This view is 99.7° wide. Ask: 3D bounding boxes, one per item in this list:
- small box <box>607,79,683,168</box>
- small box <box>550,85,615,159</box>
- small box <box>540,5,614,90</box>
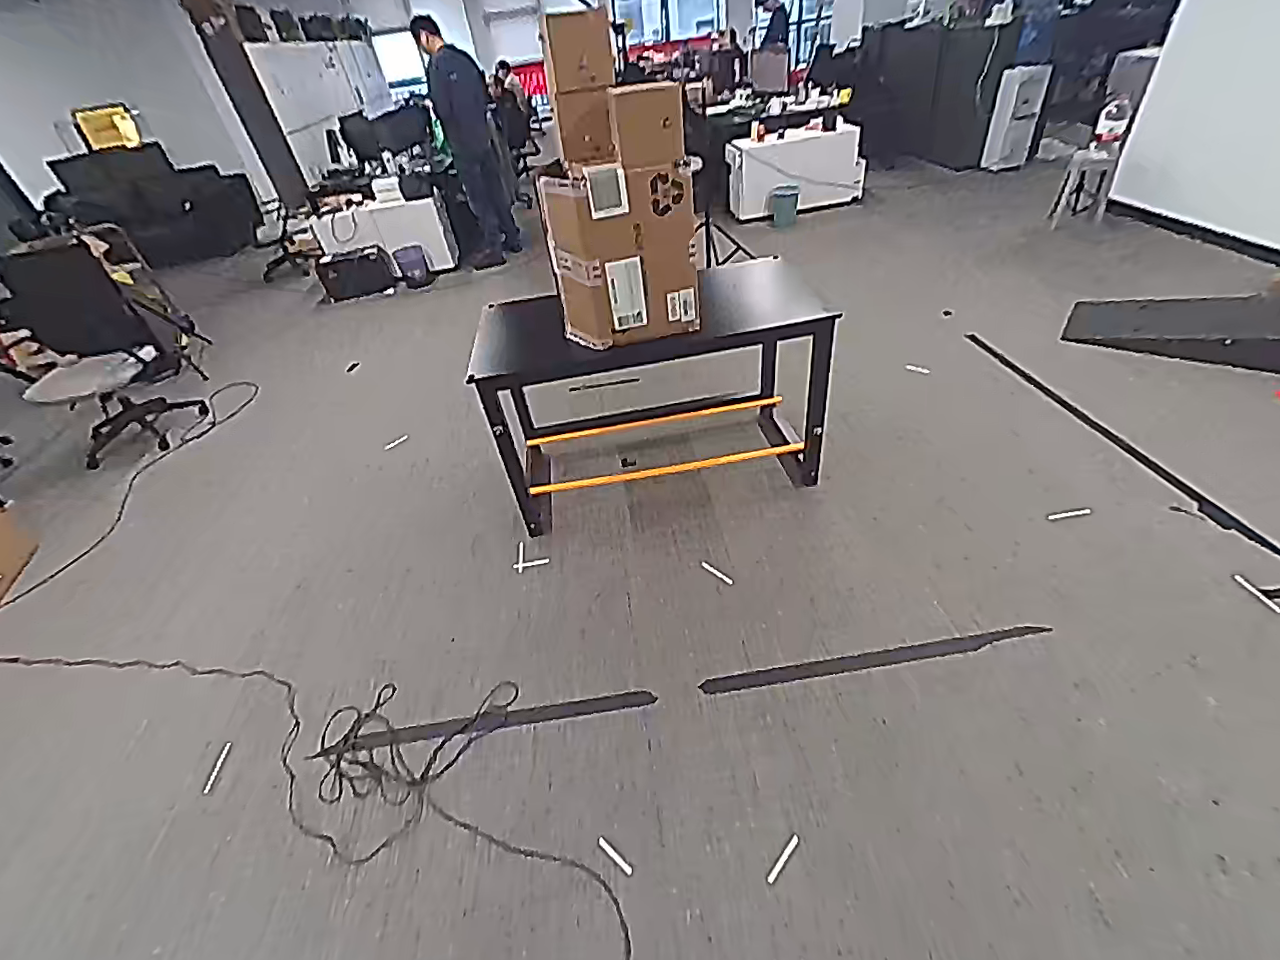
[{"bbox_3d":[0.015,-0.957,1.453,0.179,0.176,0.168,-12,40,-3],"label":"small box"},{"bbox_3d":[-0.166,-1.064,1.605,0.168,0.176,0.179,-12,39,-6],"label":"small box"},{"bbox_3d":[-0.175,-1.190,1.497,0.168,0.176,0.179,-14,39,-8],"label":"small box"}]
